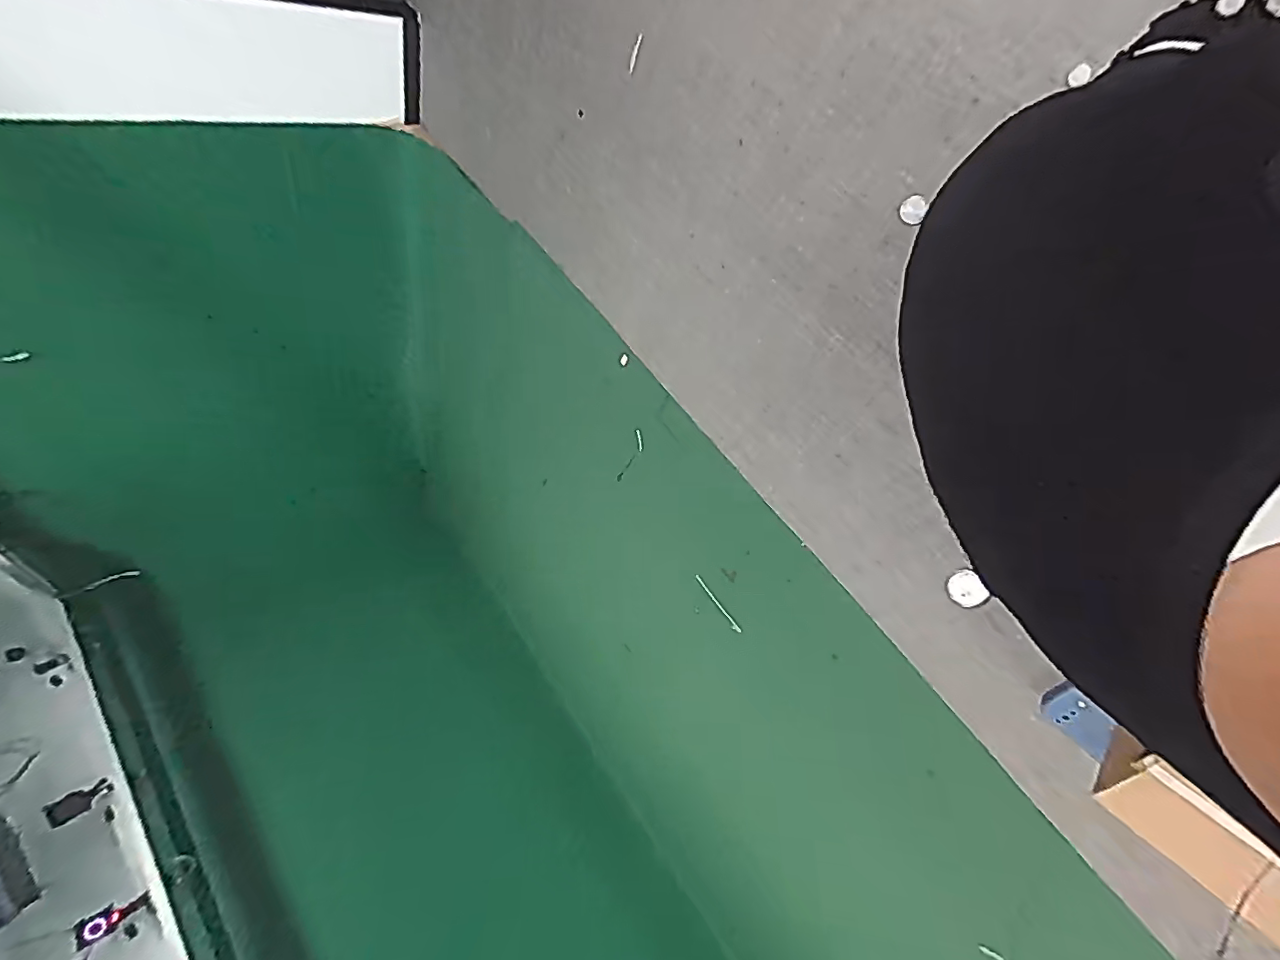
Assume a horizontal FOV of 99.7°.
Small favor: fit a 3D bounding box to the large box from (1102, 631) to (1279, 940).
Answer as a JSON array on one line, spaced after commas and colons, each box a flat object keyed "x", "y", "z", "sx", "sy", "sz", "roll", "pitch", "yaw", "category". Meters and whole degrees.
[{"x": 1.129, "y": 0.547, "z": 0.918, "sx": 0.408, "sy": 0.320, "sz": 0.320, "roll": 38, "pitch": 137, "yaw": 29, "category": "large box"}]
